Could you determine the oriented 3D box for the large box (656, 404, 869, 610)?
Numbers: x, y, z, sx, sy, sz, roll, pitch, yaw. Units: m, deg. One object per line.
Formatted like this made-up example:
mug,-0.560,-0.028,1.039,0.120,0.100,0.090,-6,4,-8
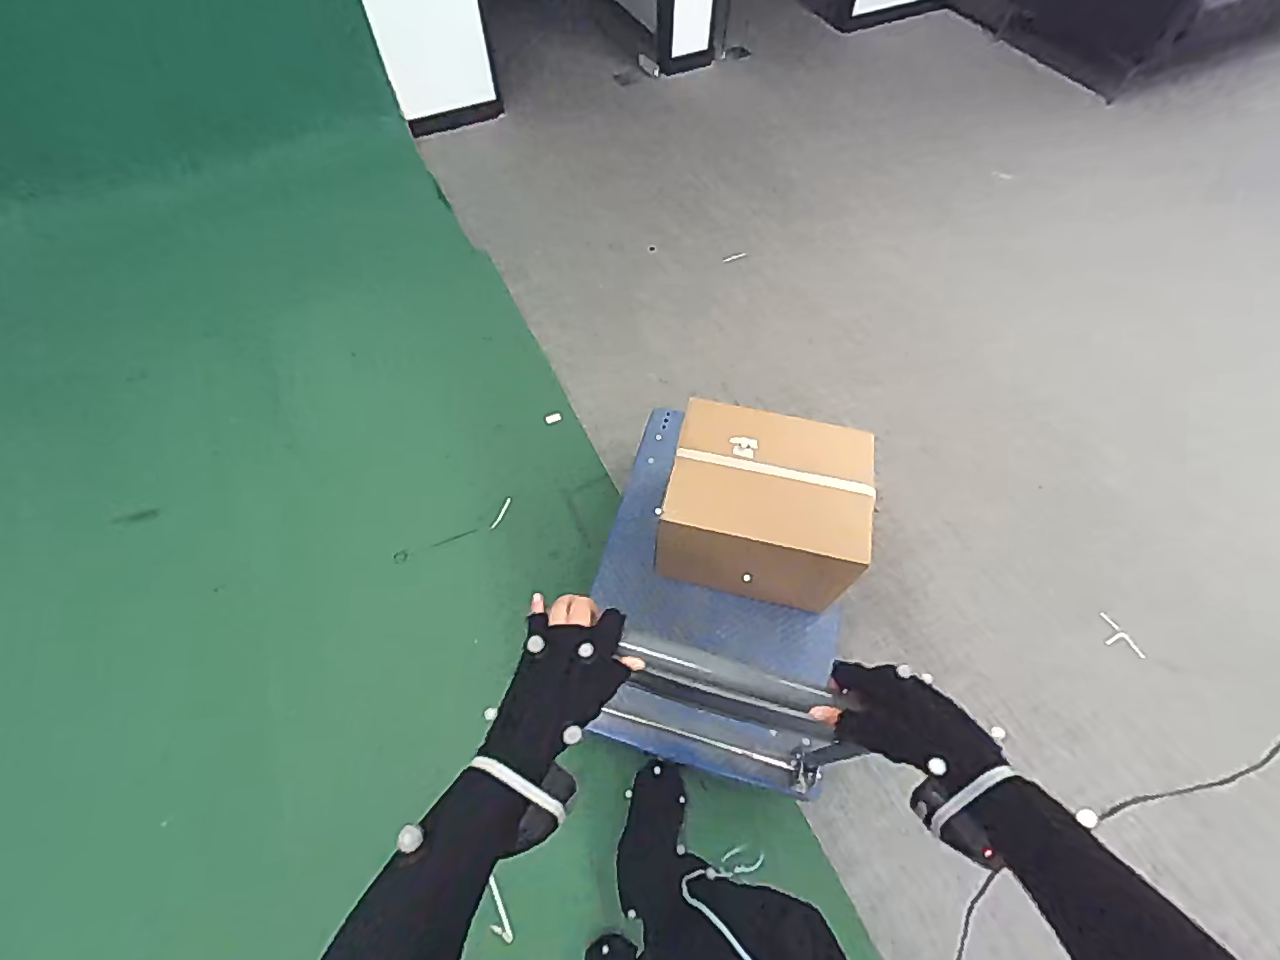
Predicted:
large box,0.265,0.070,1.228,0.408,0.320,0.320,12,59,8
